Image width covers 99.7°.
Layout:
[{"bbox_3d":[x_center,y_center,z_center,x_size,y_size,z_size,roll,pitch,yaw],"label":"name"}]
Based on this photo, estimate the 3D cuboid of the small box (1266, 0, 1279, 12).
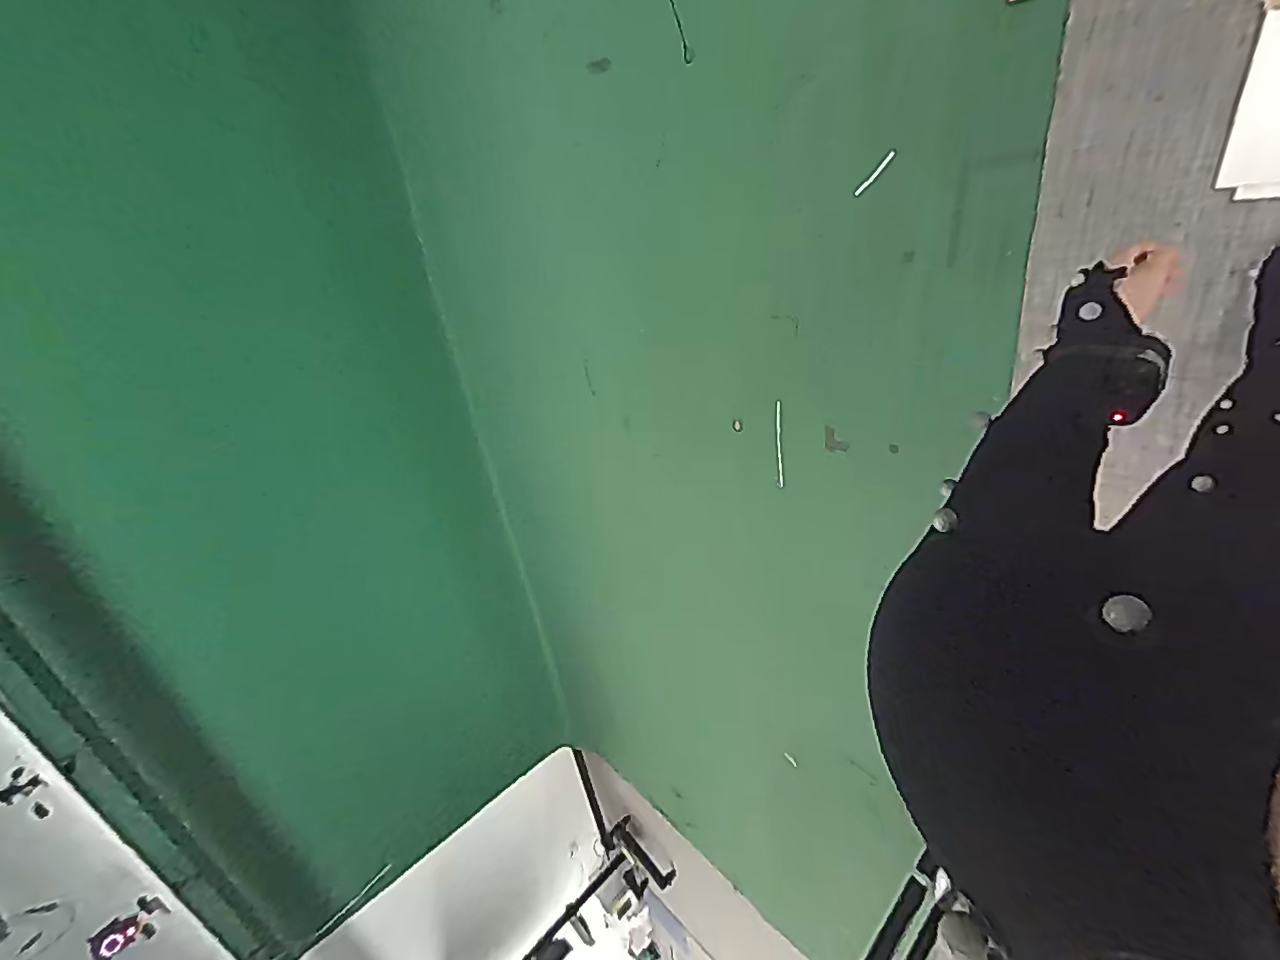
[{"bbox_3d":[0.531,-0.420,0.329,0.179,0.176,0.168,20,128,44],"label":"small box"}]
